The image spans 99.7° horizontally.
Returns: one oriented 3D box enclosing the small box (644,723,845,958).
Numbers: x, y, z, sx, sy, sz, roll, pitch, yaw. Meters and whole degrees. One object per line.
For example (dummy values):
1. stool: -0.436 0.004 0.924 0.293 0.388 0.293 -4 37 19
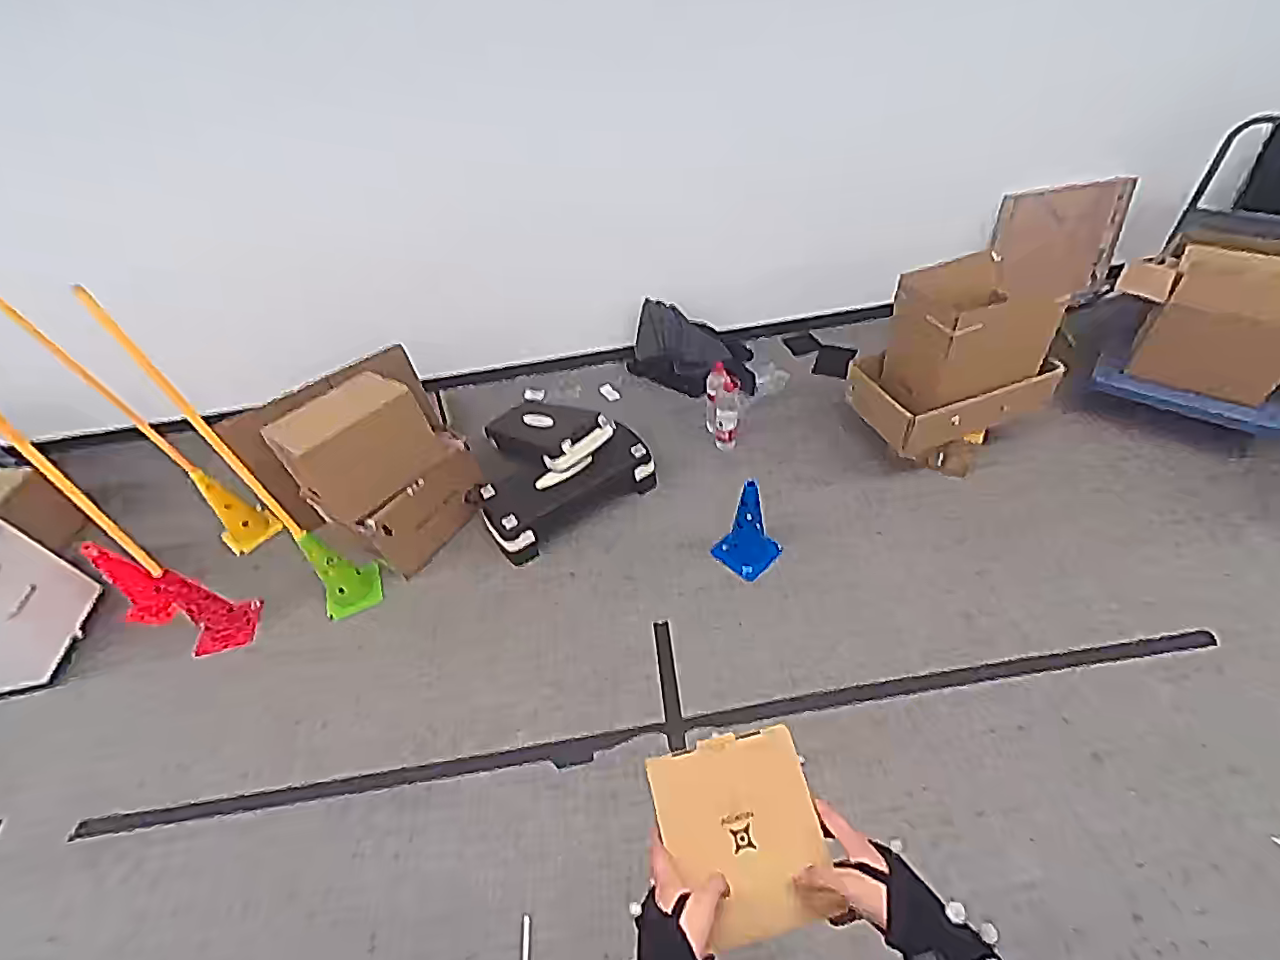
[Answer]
1. small box: 0.105 0.395 0.624 0.168 0.176 0.179 -13 62 -5
